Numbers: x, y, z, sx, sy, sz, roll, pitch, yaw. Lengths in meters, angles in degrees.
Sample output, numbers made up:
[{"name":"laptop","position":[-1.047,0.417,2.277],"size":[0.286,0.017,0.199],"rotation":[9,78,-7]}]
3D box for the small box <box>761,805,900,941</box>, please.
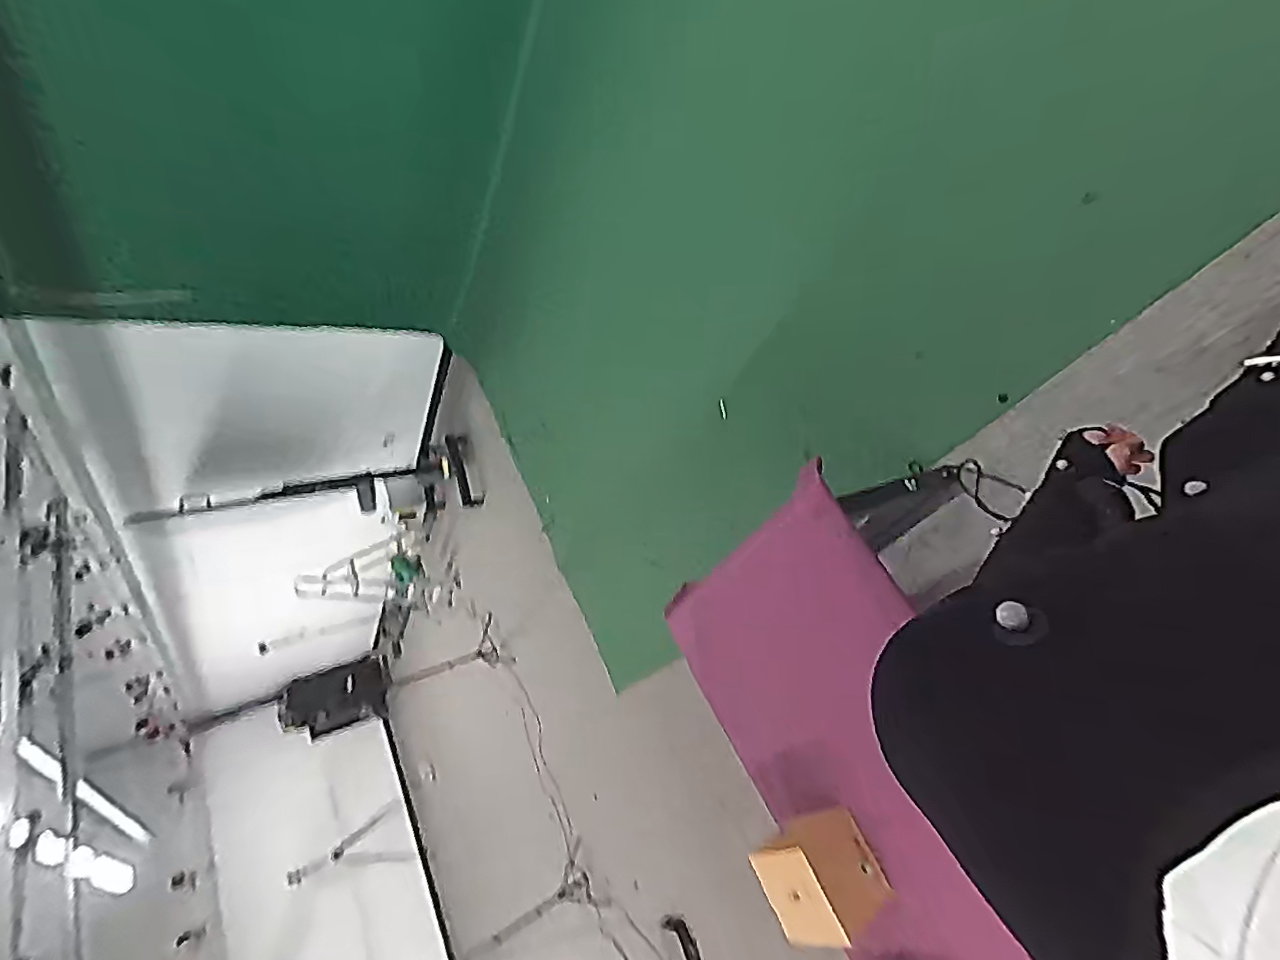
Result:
[{"name":"small box","position":[0.396,0.812,1.127],"size":[0.168,0.176,0.179],"rotation":[60,137,20]}]
